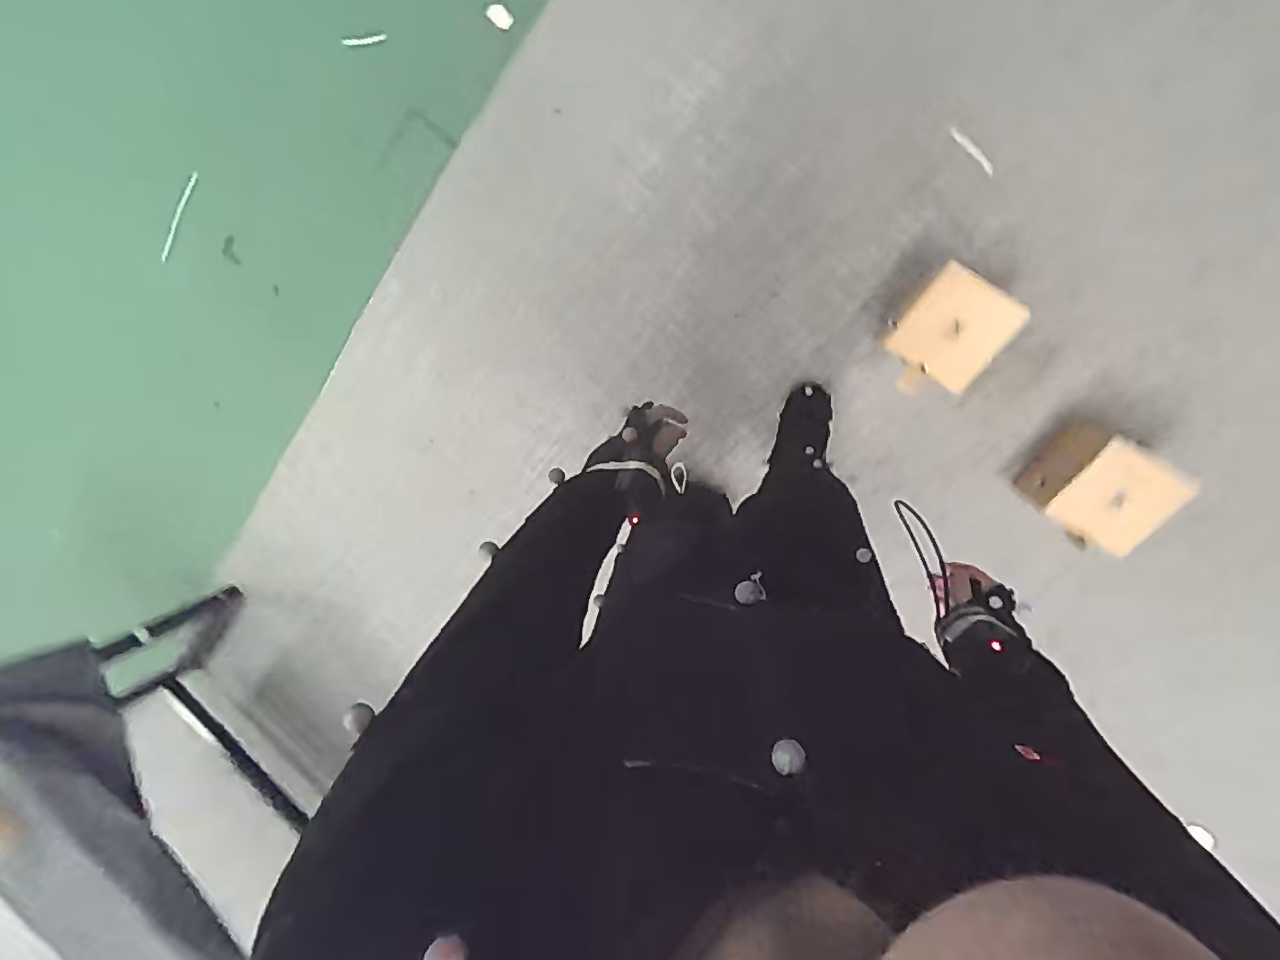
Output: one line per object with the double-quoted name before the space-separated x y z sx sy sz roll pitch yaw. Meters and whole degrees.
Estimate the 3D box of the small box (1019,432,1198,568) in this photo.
"small box" 0.878 0.031 1.043 0.168 0.176 0.179 33 111 5

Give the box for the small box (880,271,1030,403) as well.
"small box" 0.591 -0.276 1.046 0.168 0.176 0.179 37 113 5
